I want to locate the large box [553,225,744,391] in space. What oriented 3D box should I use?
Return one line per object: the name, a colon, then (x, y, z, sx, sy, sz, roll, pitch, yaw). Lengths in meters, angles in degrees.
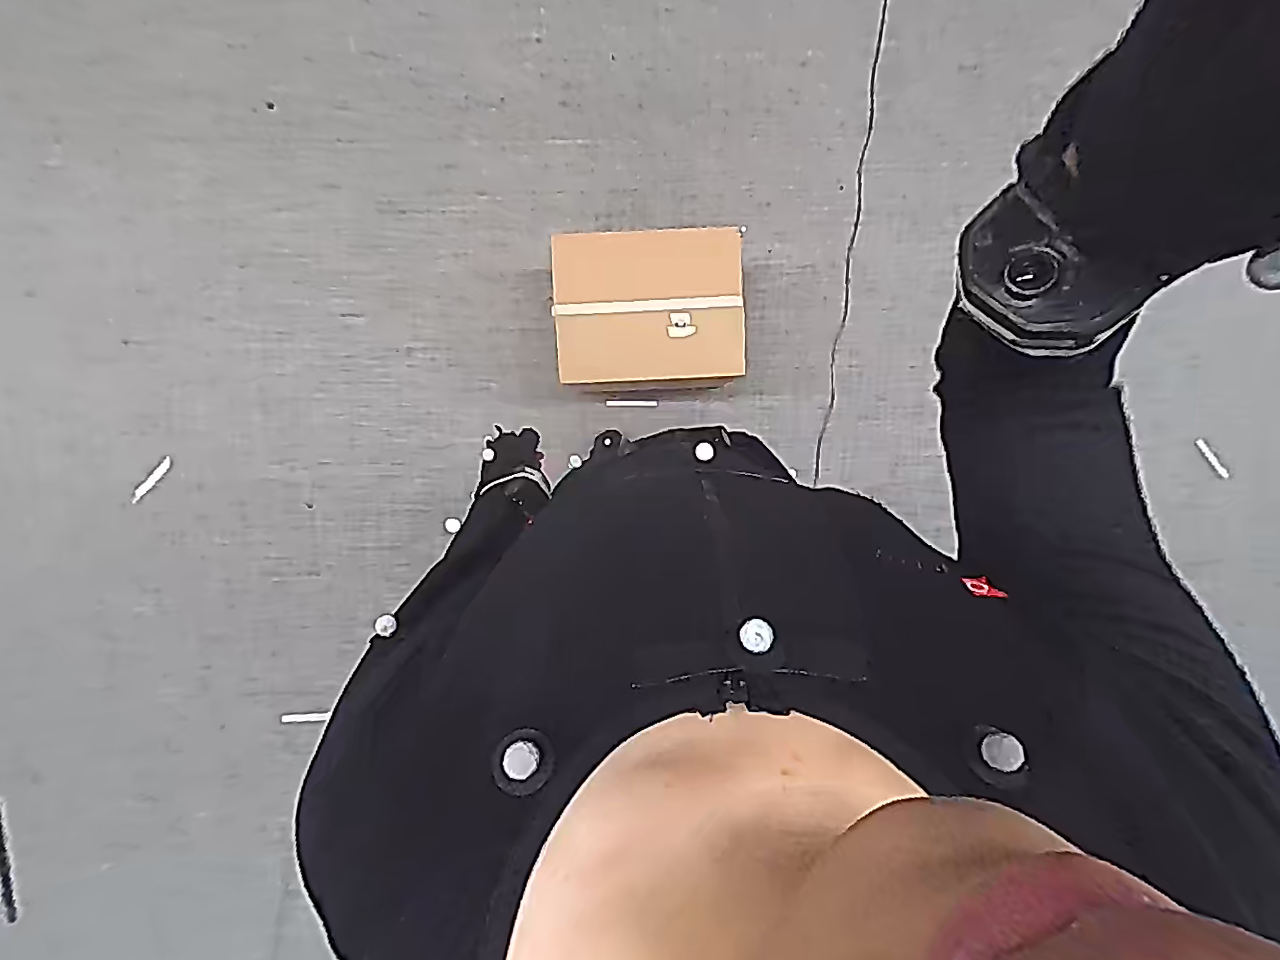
large box: (0.016, -0.394, 1.315, 0.408, 0.320, 0.320, -3, 96, -1)
